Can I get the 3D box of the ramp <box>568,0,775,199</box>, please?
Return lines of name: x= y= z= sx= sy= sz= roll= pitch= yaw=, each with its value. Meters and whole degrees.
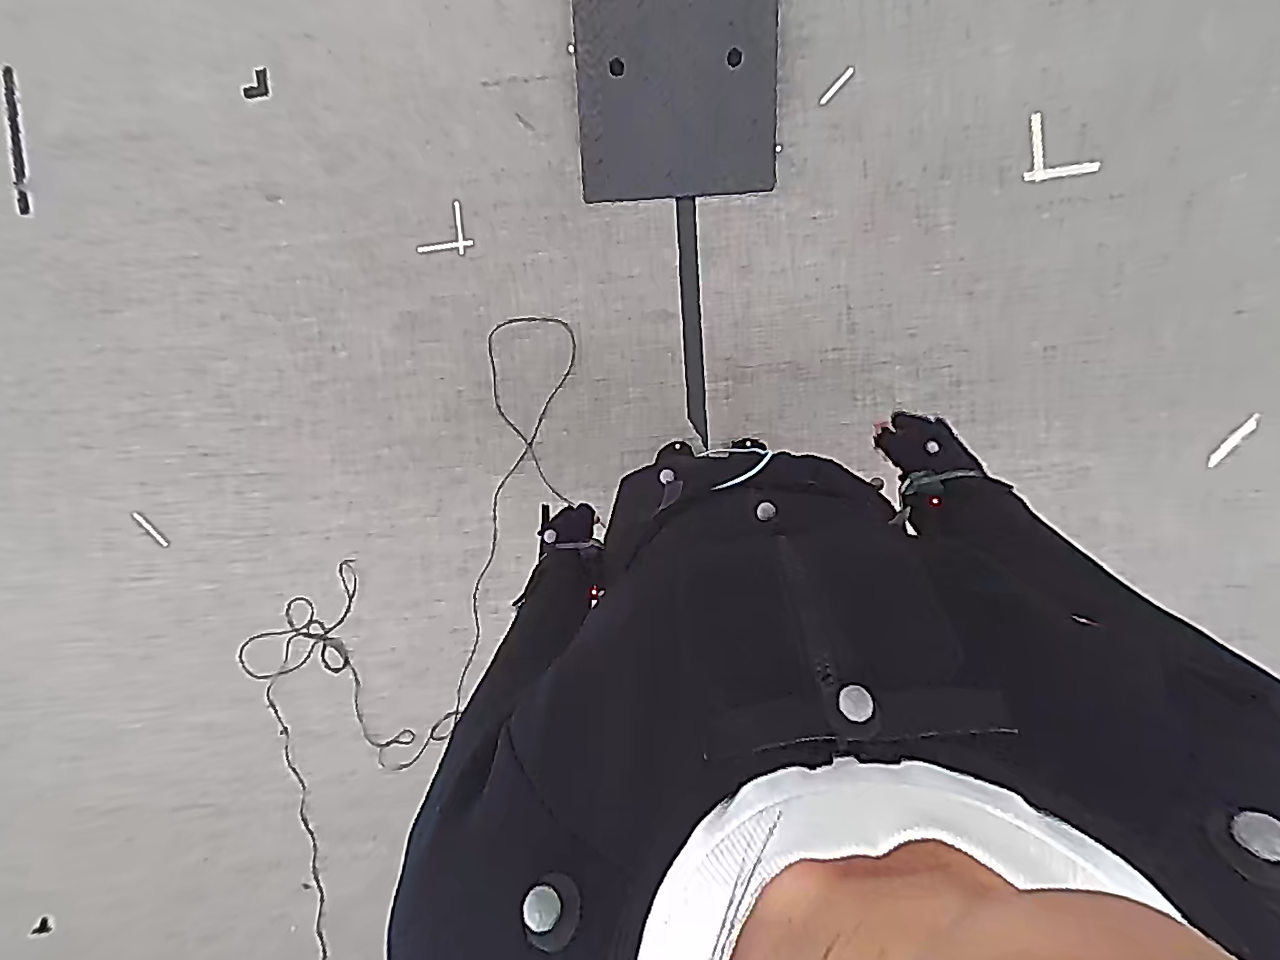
ramp: x=0.068 y=-1.218 z=1.257 sx=0.509 sy=0.206 sz=0.991 roll=-3 pitch=95 yaw=4
